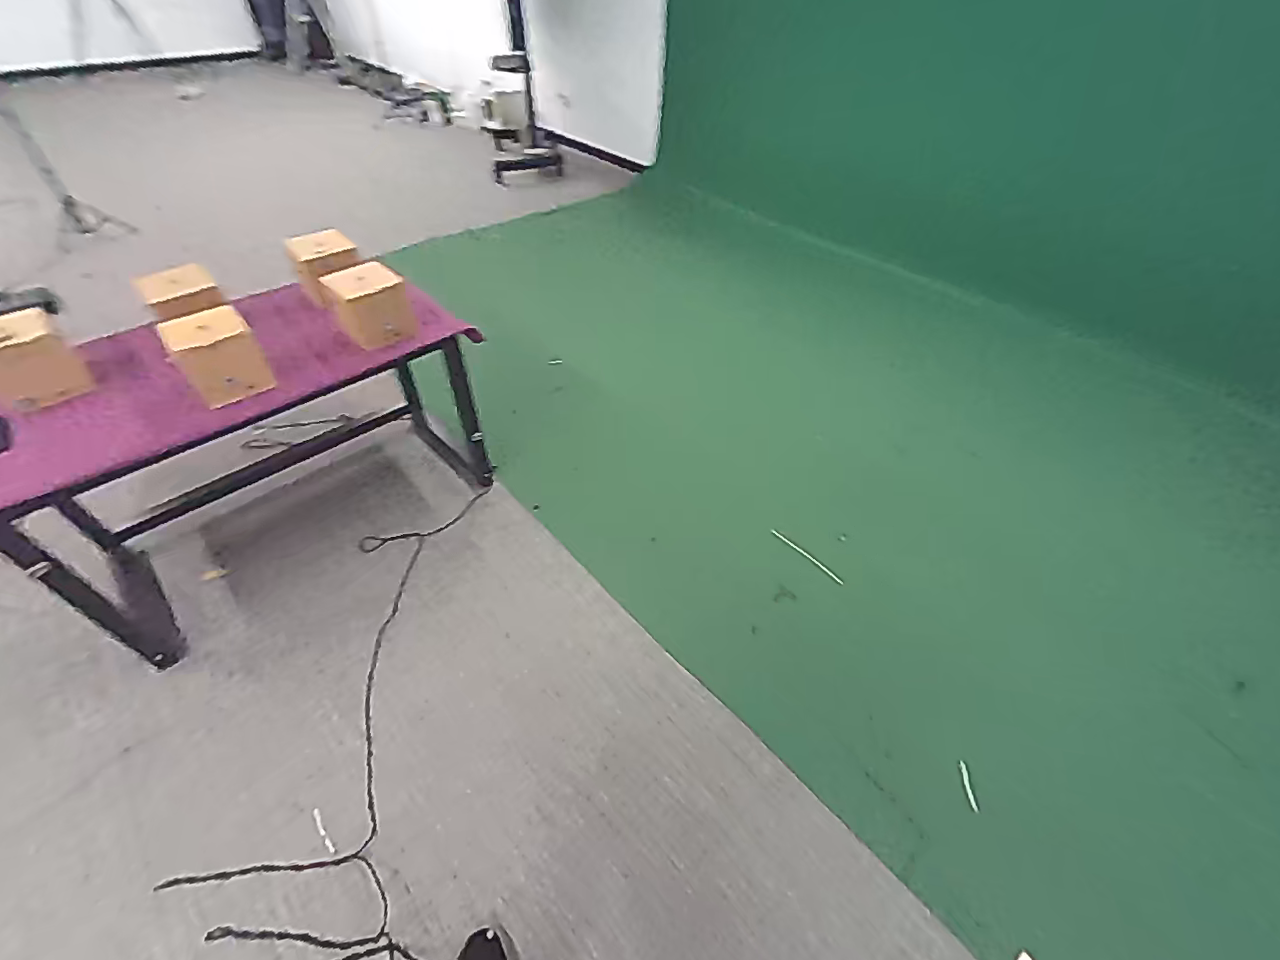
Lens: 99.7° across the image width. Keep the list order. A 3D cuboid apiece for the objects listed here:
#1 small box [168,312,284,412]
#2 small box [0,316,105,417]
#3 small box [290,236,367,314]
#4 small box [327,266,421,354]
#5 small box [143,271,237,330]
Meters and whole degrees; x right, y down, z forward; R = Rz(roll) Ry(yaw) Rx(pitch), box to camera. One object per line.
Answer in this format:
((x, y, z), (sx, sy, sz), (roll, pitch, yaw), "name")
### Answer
((-1.068, -0.305, 1.404), (0.168, 0.176, 0.179), (-32, 54, -28), "small box")
((-1.516, -0.282, 1.368), (0.168, 0.176, 0.179), (-34, 55, -30), "small box")
((-0.988, -0.663, 1.749), (0.168, 0.176, 0.179), (-33, 55, -28), "small box")
((-0.777, -0.499, 1.592), (0.168, 0.176, 0.179), (-36, 57, -28), "small box")
((-1.271, -0.473, 1.561), (0.168, 0.176, 0.179), (-35, 57, -29), "small box")
